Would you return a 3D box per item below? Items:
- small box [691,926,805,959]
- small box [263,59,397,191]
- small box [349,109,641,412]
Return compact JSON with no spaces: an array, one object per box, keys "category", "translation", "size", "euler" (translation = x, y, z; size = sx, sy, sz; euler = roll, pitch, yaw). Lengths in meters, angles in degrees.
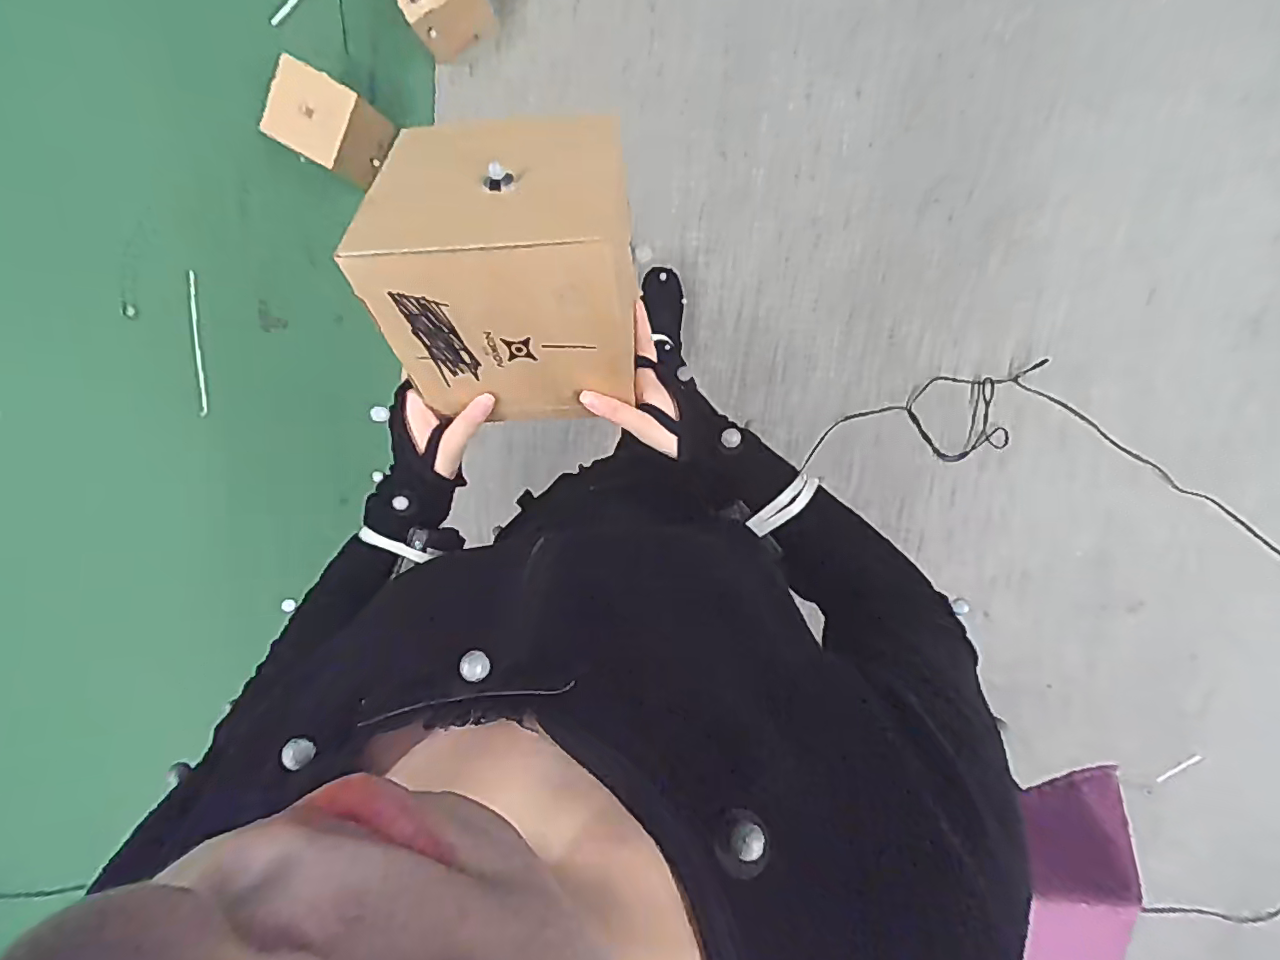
[{"category":"small box","translation":[0.168,0.826,0.820],"size":[0.179,0.176,0.168],"euler":[6,103,1]},{"category":"small box","translation":[-0.702,-0.798,1.240],"size":[0.179,0.176,0.168],"euler":[29,103,-4]},{"category":"small box","translation":[-0.092,-0.174,0.442],"size":[0.179,0.176,0.168],"euler":[-2,146,3]}]
